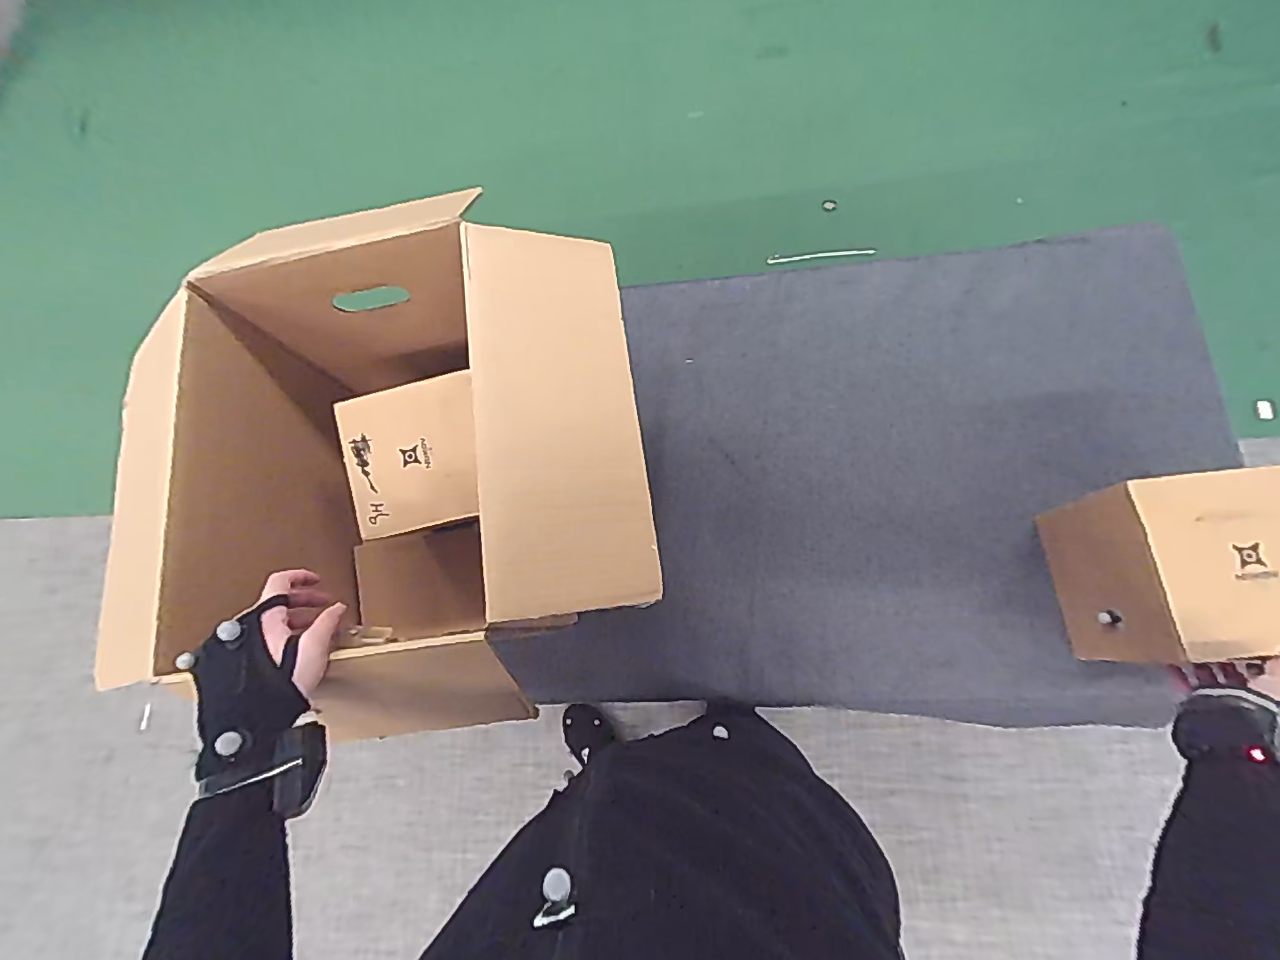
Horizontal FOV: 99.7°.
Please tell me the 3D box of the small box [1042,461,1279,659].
[{"bbox_3d":[0.583,0.092,0.582,0.168,0.176,0.179,-7,73,6],"label":"small box"}]
